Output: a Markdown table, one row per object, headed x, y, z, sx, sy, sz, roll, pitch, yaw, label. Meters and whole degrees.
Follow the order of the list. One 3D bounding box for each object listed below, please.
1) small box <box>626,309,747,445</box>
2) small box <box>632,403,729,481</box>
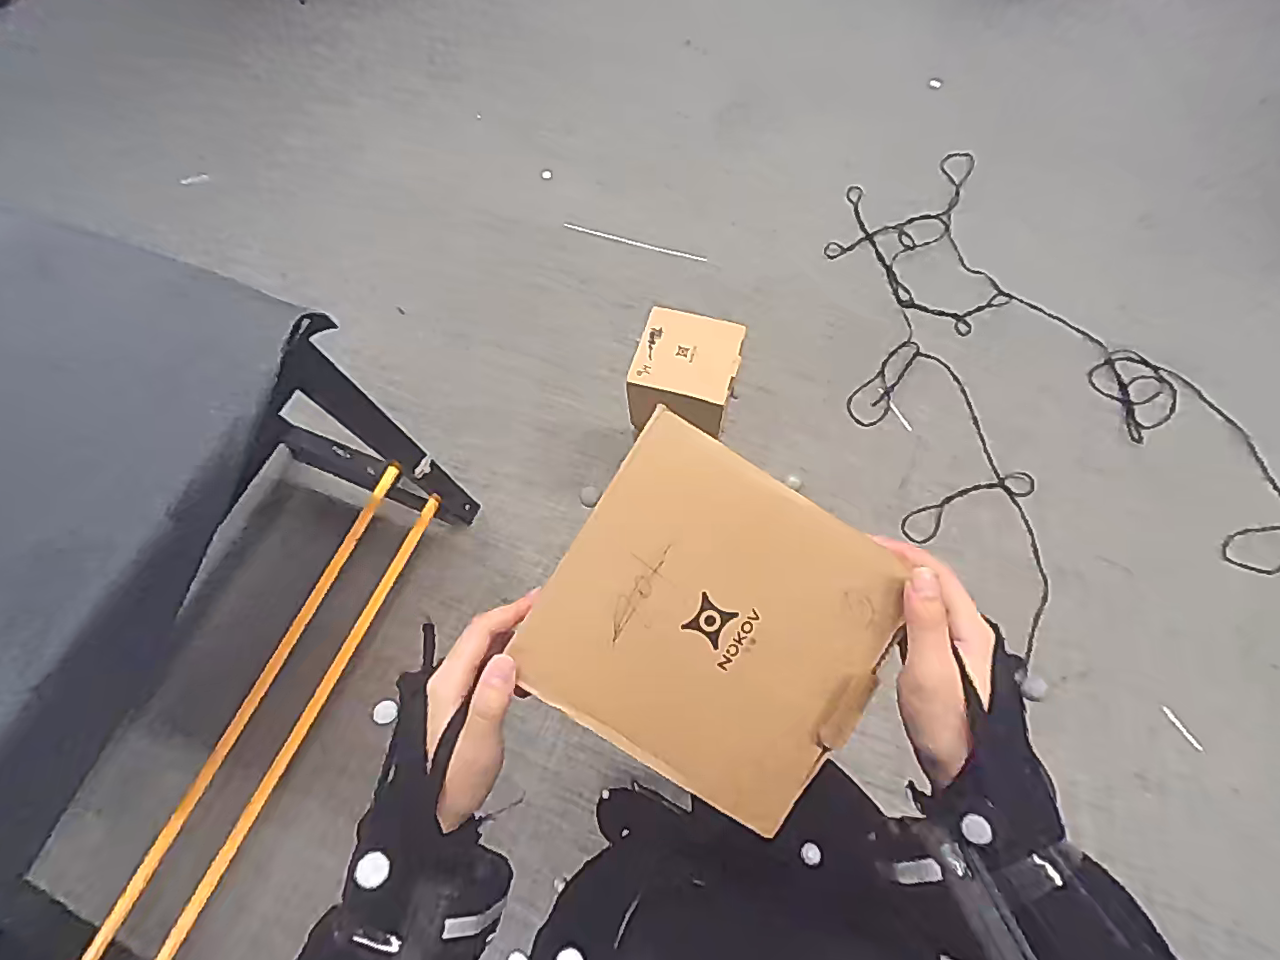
| x | y | z | sx | sy | sz | roll | pitch | yaw | label |
| --- | --- | --- | --- | --- | --- | --- | --- | --- | --- |
| 0.084 | -0.183 | 1.004 | 0.179 | 0.176 | 0.168 | 16 | 70 | 8 | small box |
| 0.092 | -0.118 | 1.155 | 0.168 | 0.176 | 0.179 | 15 | 69 | 9 | small box |
